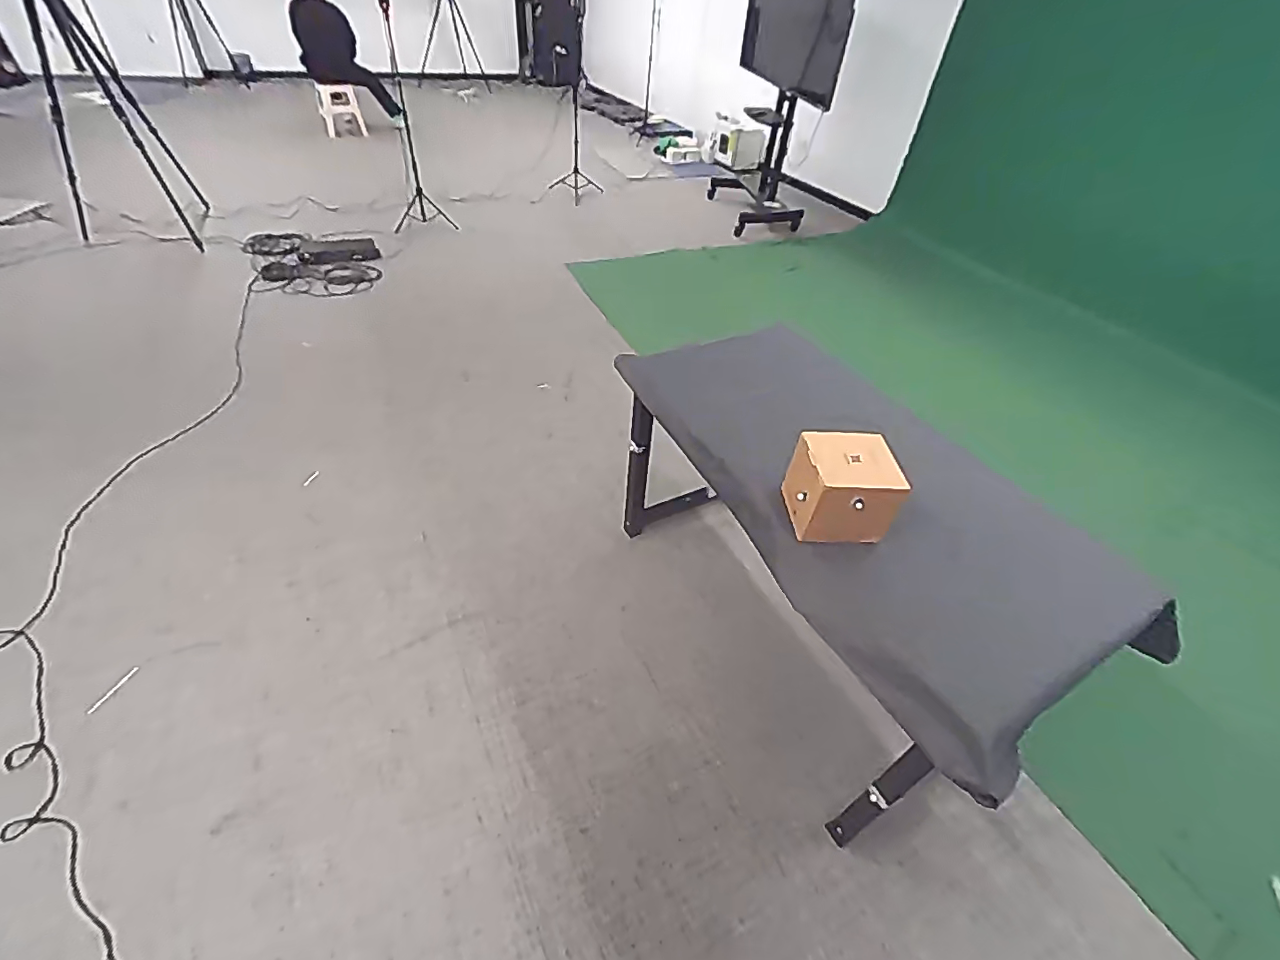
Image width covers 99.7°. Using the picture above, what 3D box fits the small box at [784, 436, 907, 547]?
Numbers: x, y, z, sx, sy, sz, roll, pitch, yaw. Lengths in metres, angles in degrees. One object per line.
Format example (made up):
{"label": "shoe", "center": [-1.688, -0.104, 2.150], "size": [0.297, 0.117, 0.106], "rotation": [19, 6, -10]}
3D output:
{"label": "small box", "center": [0.414, 0.026, 1.134], "size": [0.179, 0.176, 0.168], "rotation": [3, 44, -6]}
